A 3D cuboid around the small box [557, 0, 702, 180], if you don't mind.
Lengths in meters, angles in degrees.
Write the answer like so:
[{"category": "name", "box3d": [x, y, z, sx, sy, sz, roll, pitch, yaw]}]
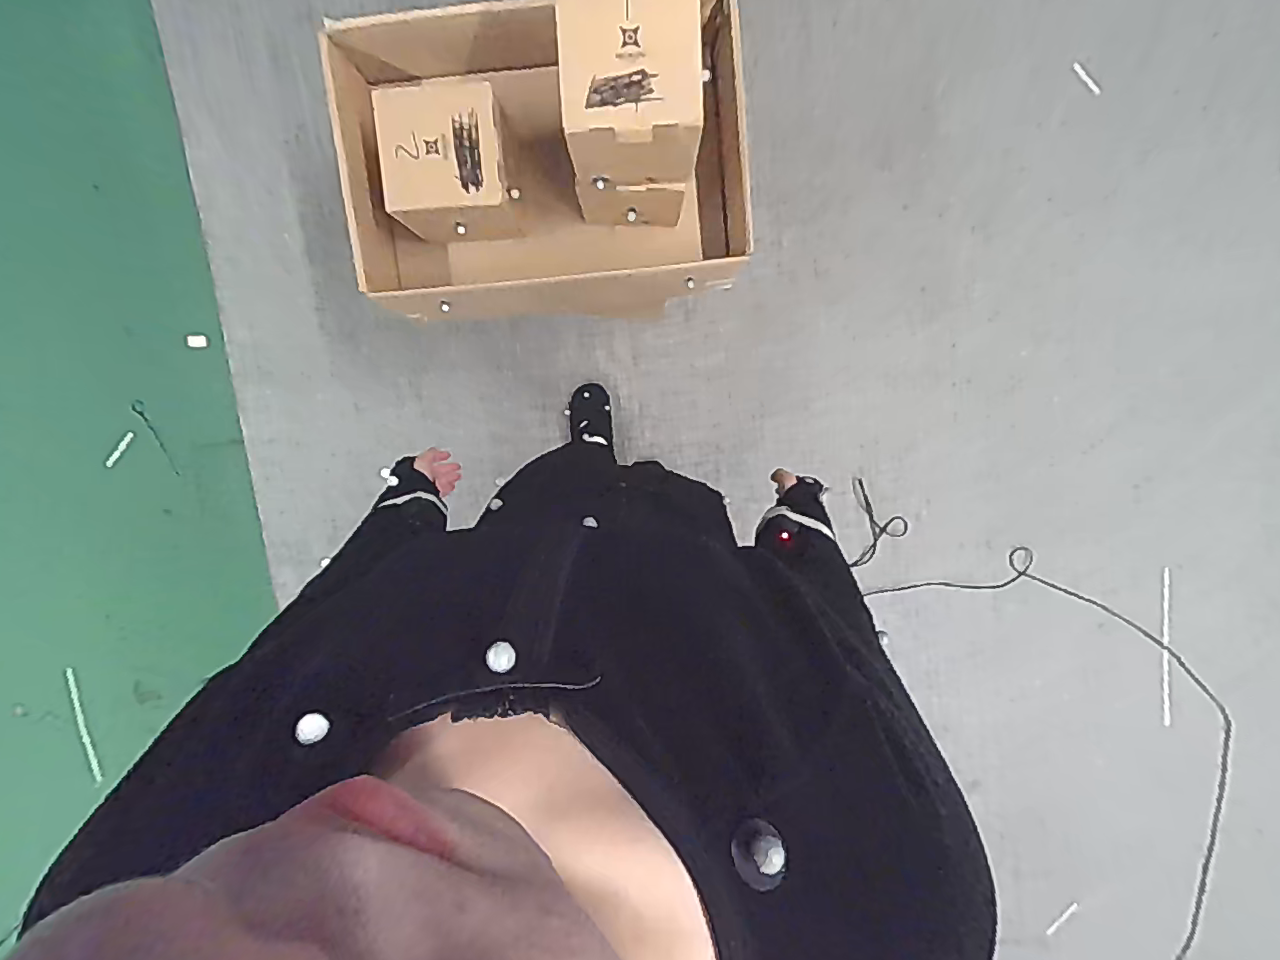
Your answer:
[{"category": "small box", "box3d": [-0.010, -0.505, 0.695, 0.168, 0.176, 0.179, -2, 97, 0]}]
